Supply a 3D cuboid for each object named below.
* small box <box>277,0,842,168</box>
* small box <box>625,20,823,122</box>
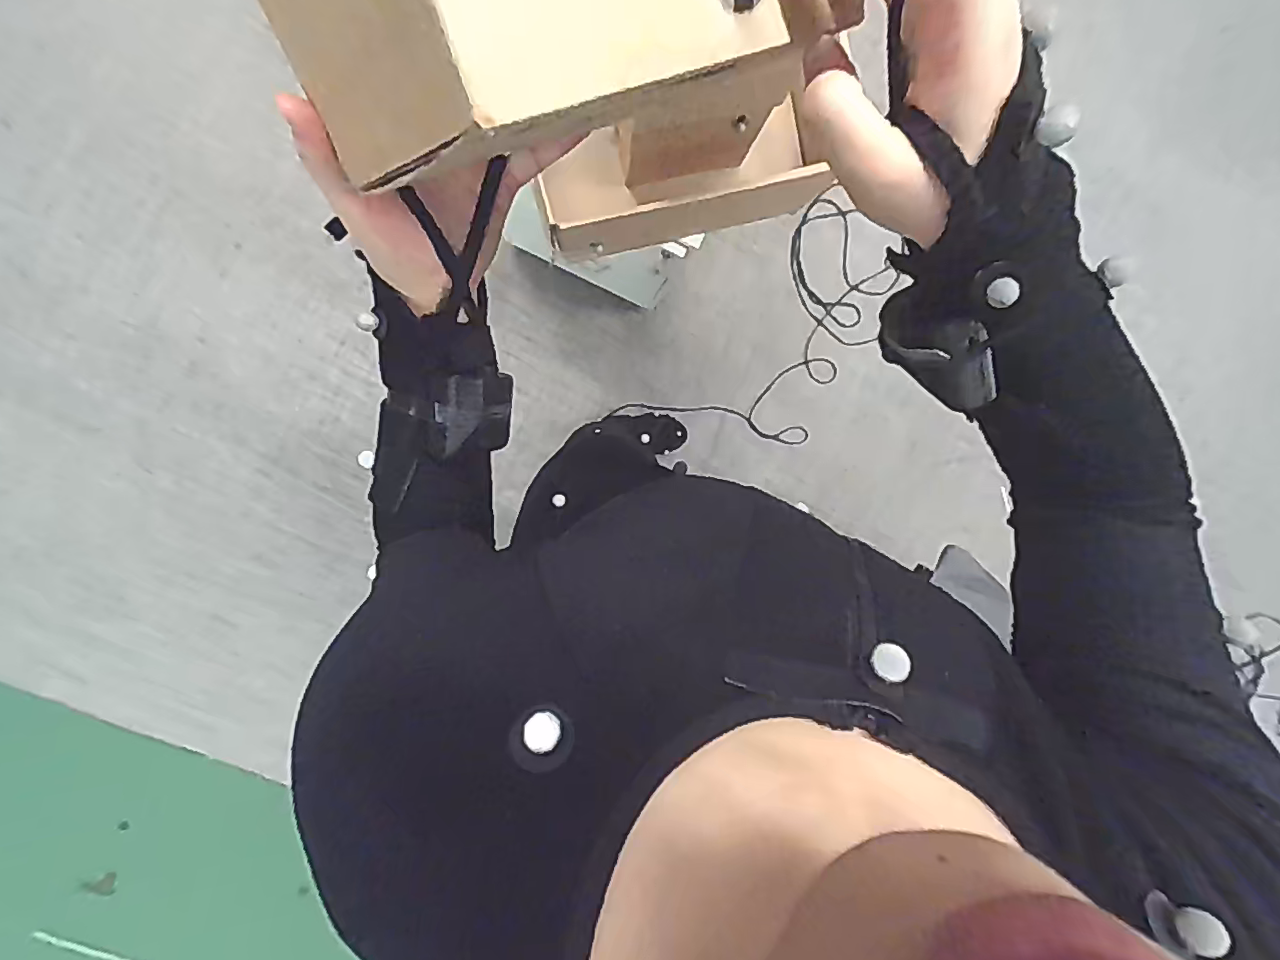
[{"bbox_3d":[-0.052,-0.237,0.196,0.168,0.179,0.176,-33,124,-23],"label":"small box"},{"bbox_3d":[0.065,-0.484,0.520,0.179,0.176,0.168,-13,97,-3],"label":"small box"}]
